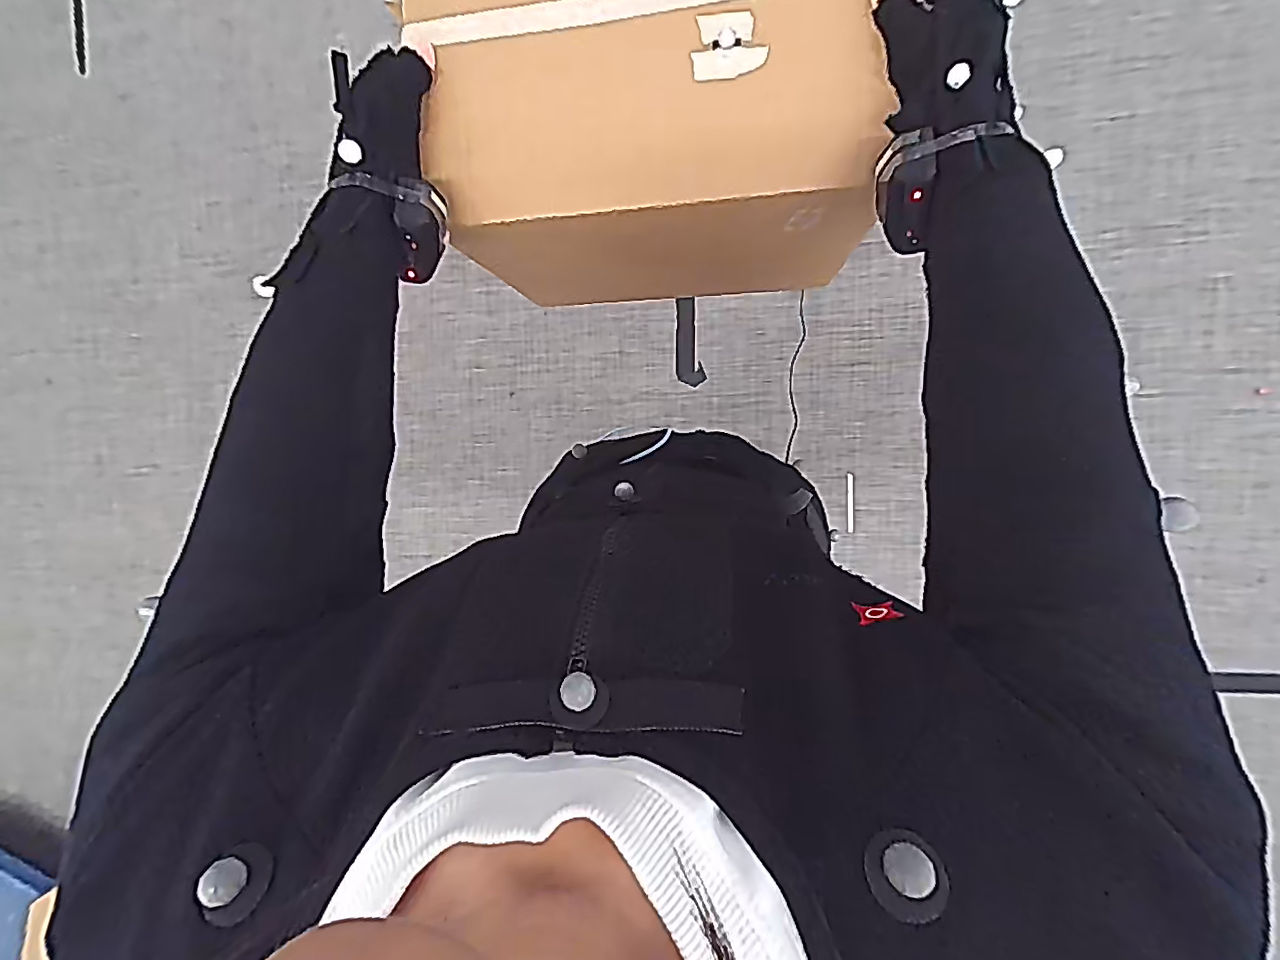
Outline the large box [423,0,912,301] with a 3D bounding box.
[{"bbox_3d":[0.027,-0.402,0.588,0.408,0.320,0.320,-2,96,7],"label":"large box"}]
